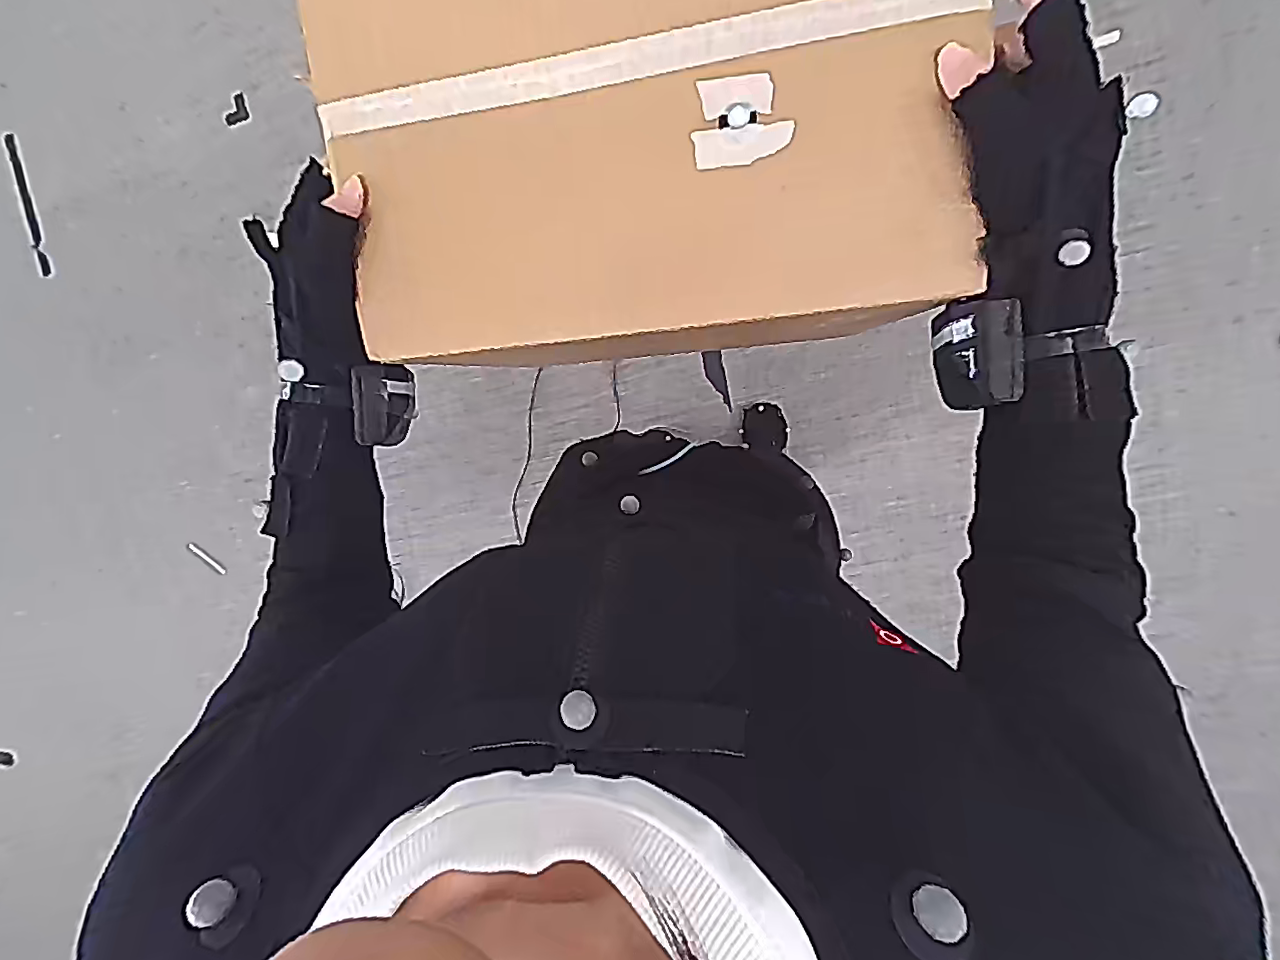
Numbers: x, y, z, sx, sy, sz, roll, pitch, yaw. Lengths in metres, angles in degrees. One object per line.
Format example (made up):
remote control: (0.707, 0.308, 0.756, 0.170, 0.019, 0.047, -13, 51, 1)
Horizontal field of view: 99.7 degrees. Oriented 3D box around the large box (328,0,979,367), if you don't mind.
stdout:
large box: (0.016, -0.284, 0.484, 0.408, 0.320, 0.320, -5, 101, 9)
